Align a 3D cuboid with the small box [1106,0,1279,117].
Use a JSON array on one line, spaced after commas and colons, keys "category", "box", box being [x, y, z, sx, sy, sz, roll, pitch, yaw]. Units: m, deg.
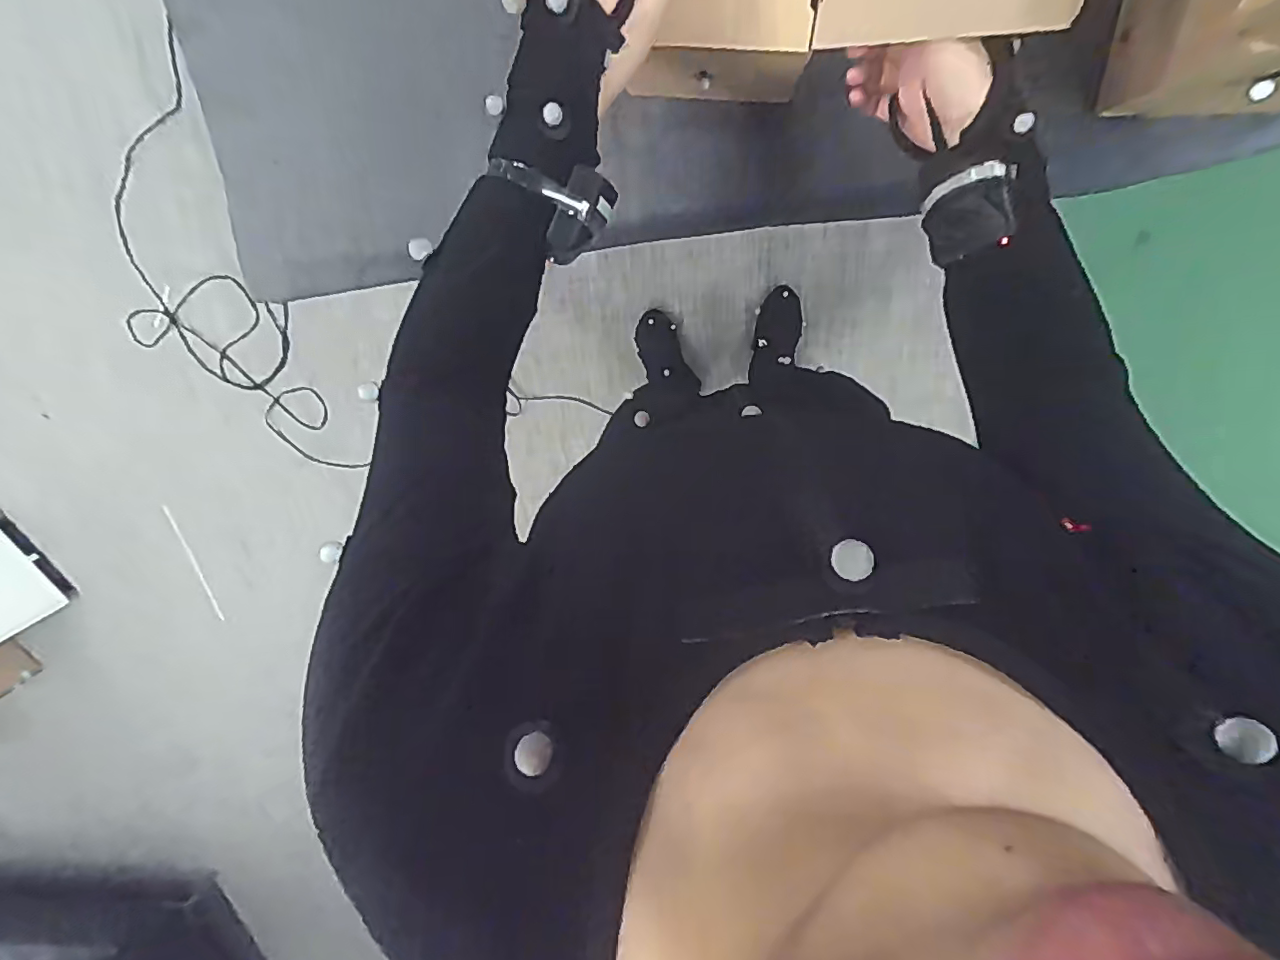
[{"category": "small box", "box": [0.529, -0.404, 0.426, 0.179, 0.176, 0.168, 3, 111, 8]}]
